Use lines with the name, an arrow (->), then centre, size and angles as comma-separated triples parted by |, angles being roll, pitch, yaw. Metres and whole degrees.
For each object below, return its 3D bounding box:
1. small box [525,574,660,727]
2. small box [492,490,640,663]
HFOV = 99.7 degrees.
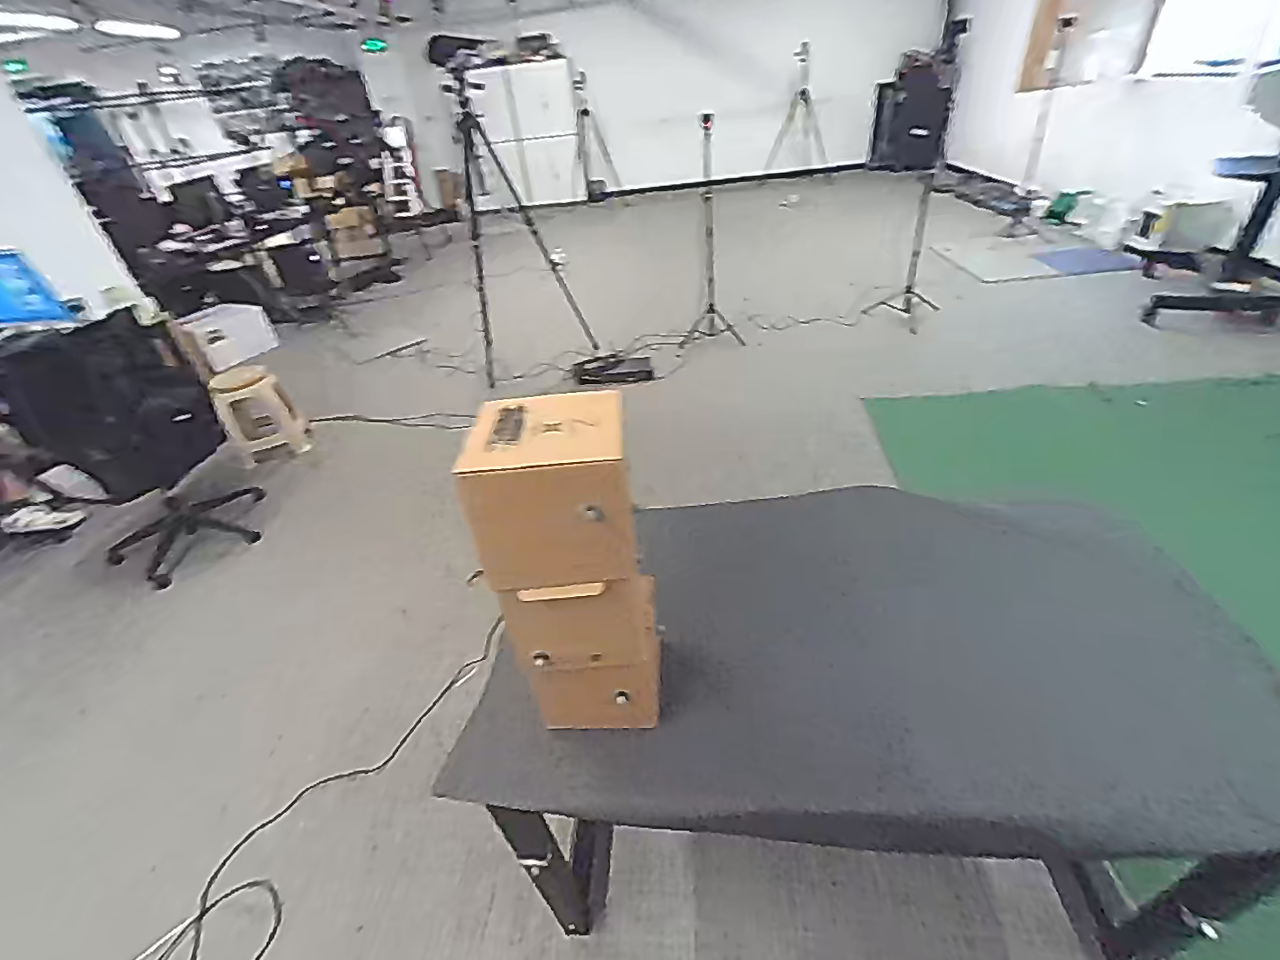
small box -> -0.062, 0.269, 0.851 | 0.179, 0.176, 0.168 | -4, 35, 6
small box -> -0.090, 0.138, 0.755 | 0.168, 0.176, 0.179 | -6, 34, 2
